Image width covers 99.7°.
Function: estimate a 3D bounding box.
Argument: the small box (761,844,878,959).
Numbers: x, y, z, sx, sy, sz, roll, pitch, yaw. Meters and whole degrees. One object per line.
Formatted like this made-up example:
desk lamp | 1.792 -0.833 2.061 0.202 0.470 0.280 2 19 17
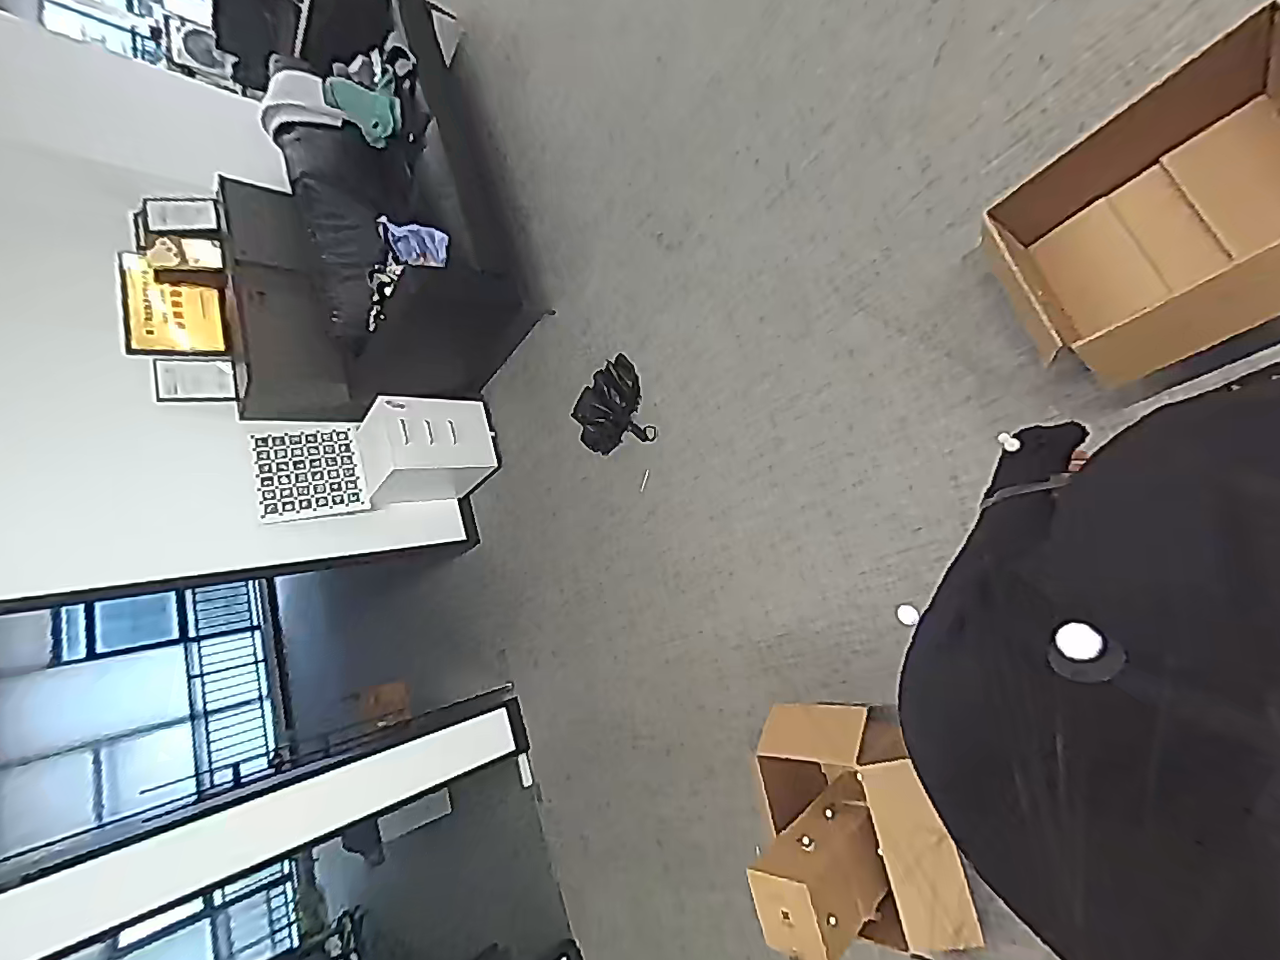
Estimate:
small box | 0.408 0.971 1.221 0.168 0.176 0.179 -25 76 44
